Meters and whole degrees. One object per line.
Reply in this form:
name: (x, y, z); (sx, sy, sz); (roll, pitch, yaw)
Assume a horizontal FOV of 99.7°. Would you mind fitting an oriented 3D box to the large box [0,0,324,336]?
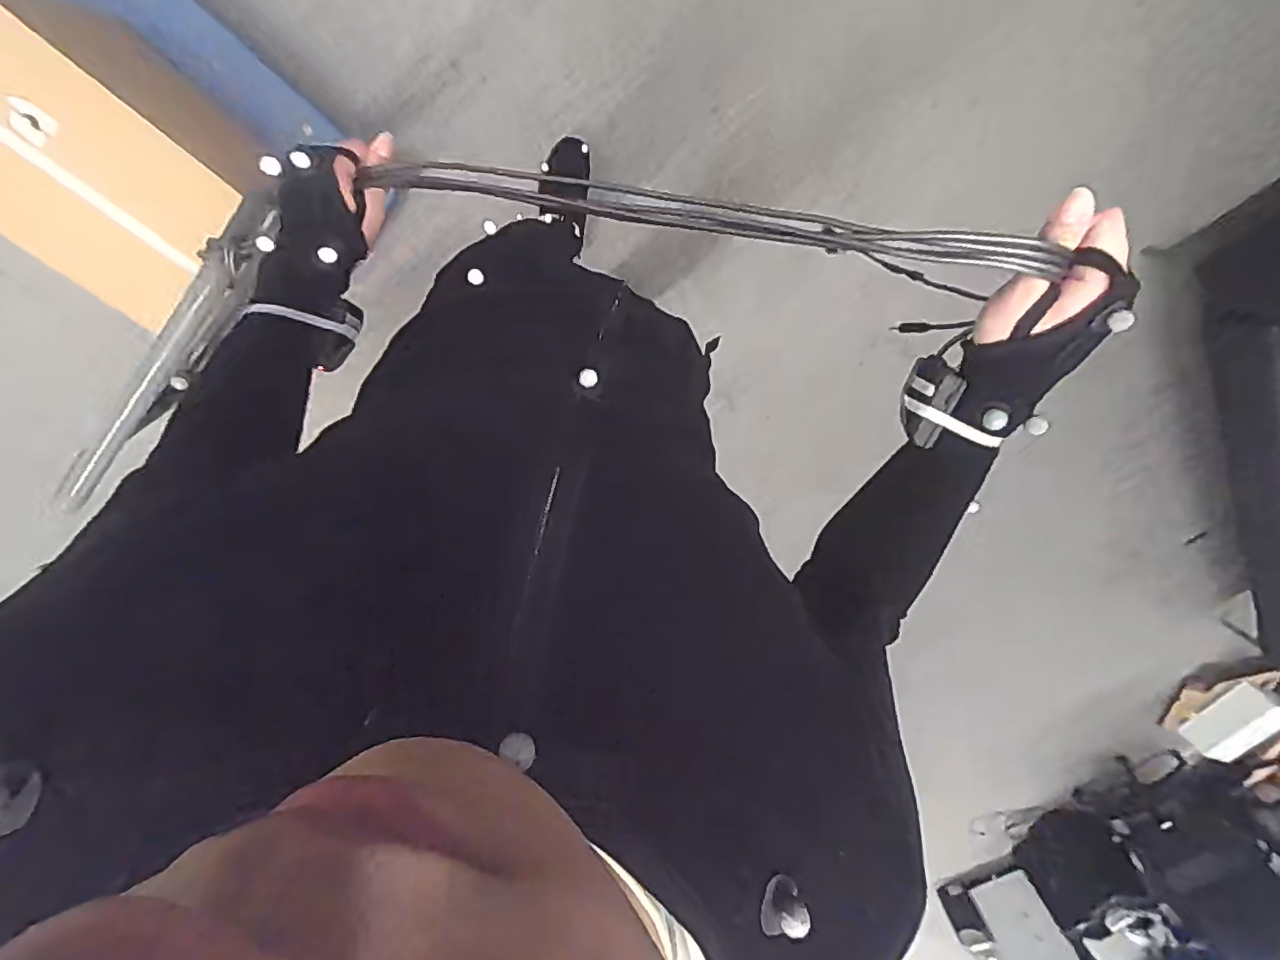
large box: (-0.878, -0.535, 0.956); (0.320, 0.320, 0.408); (-42, 116, 16)
